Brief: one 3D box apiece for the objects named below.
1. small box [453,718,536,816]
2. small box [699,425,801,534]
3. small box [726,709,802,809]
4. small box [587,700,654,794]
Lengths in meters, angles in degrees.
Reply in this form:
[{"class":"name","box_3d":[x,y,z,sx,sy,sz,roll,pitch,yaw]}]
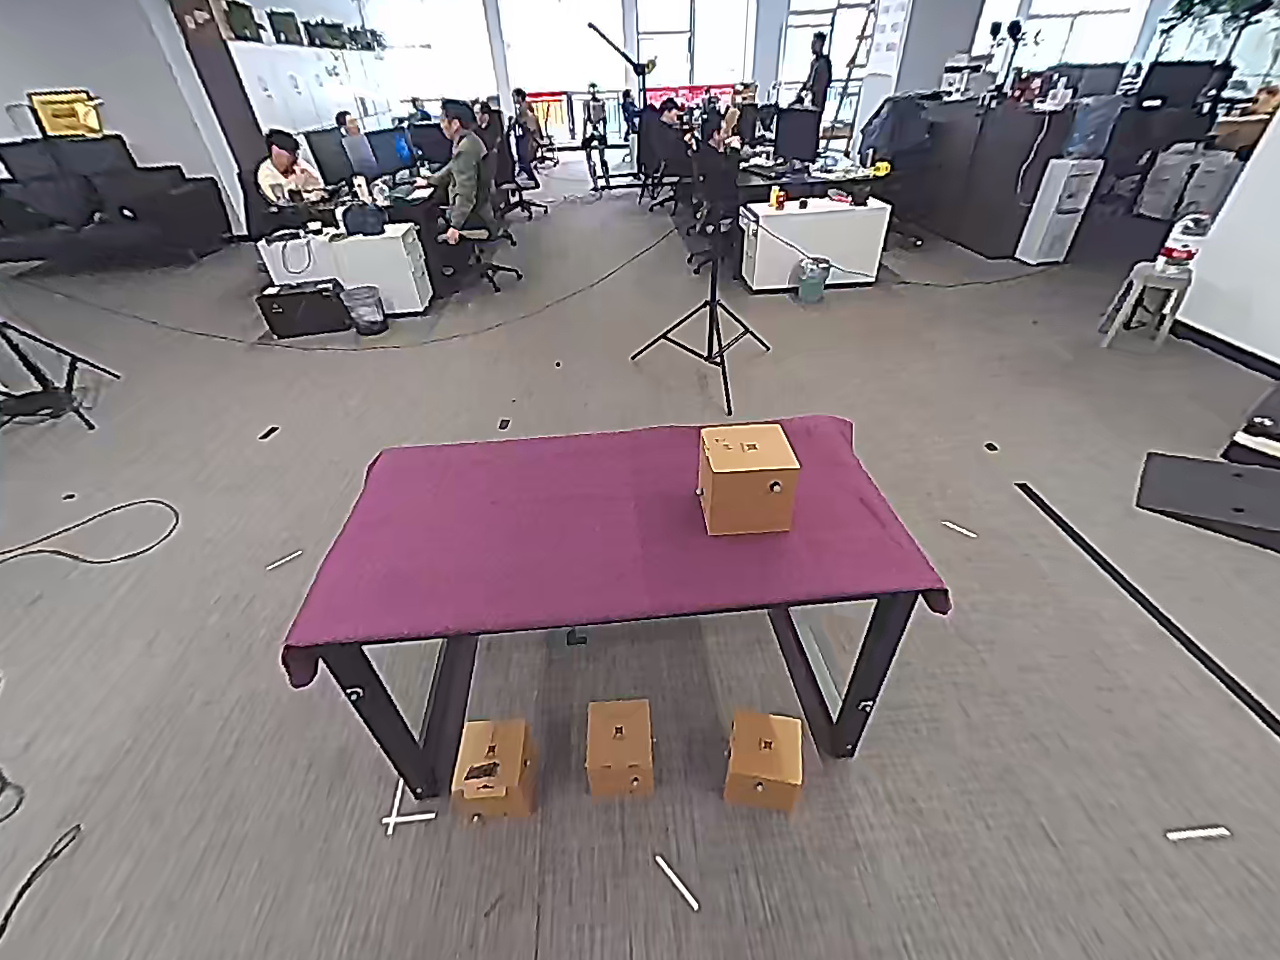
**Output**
[{"class":"small box","box_3d":[-0.371,0.754,1.411,0.168,0.176,0.179,-4,37,-2]},{"class":"small box","box_3d":[0.225,0.000,1.157,0.179,0.176,0.168,-4,37,-1]},{"class":"small box","box_3d":[0.321,0.727,1.406,0.179,0.176,0.168,5,39,12]},{"class":"small box","box_3d":[-0.051,0.716,1.444,0.168,0.176,0.179,-3,37,-2]}]
